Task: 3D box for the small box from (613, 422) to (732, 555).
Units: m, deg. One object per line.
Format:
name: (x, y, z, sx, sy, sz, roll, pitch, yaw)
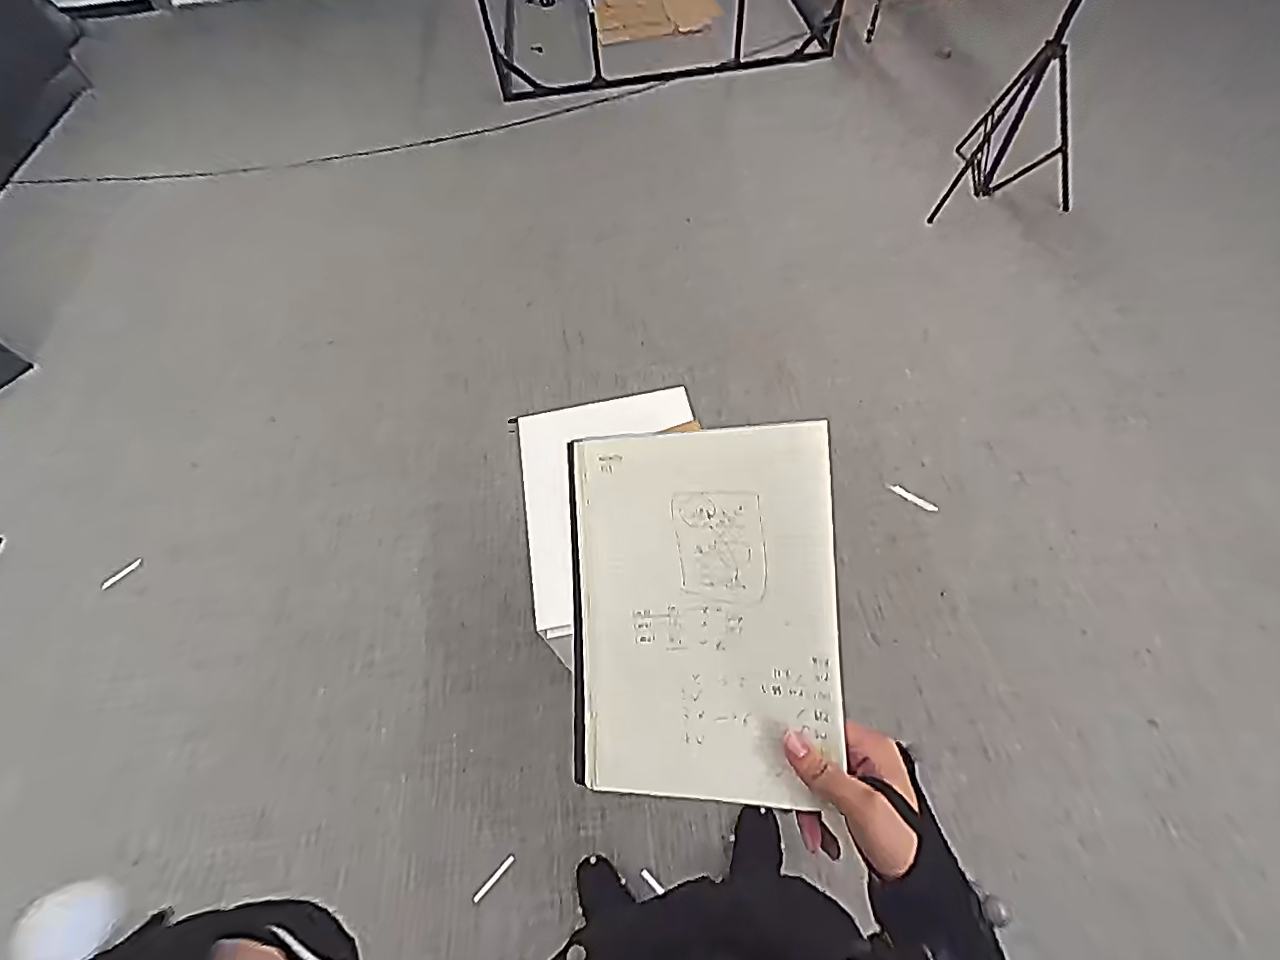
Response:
small box: (0.060, 0.021, 1.043, 0.179, 0.176, 0.168, -19, 59, -6)
